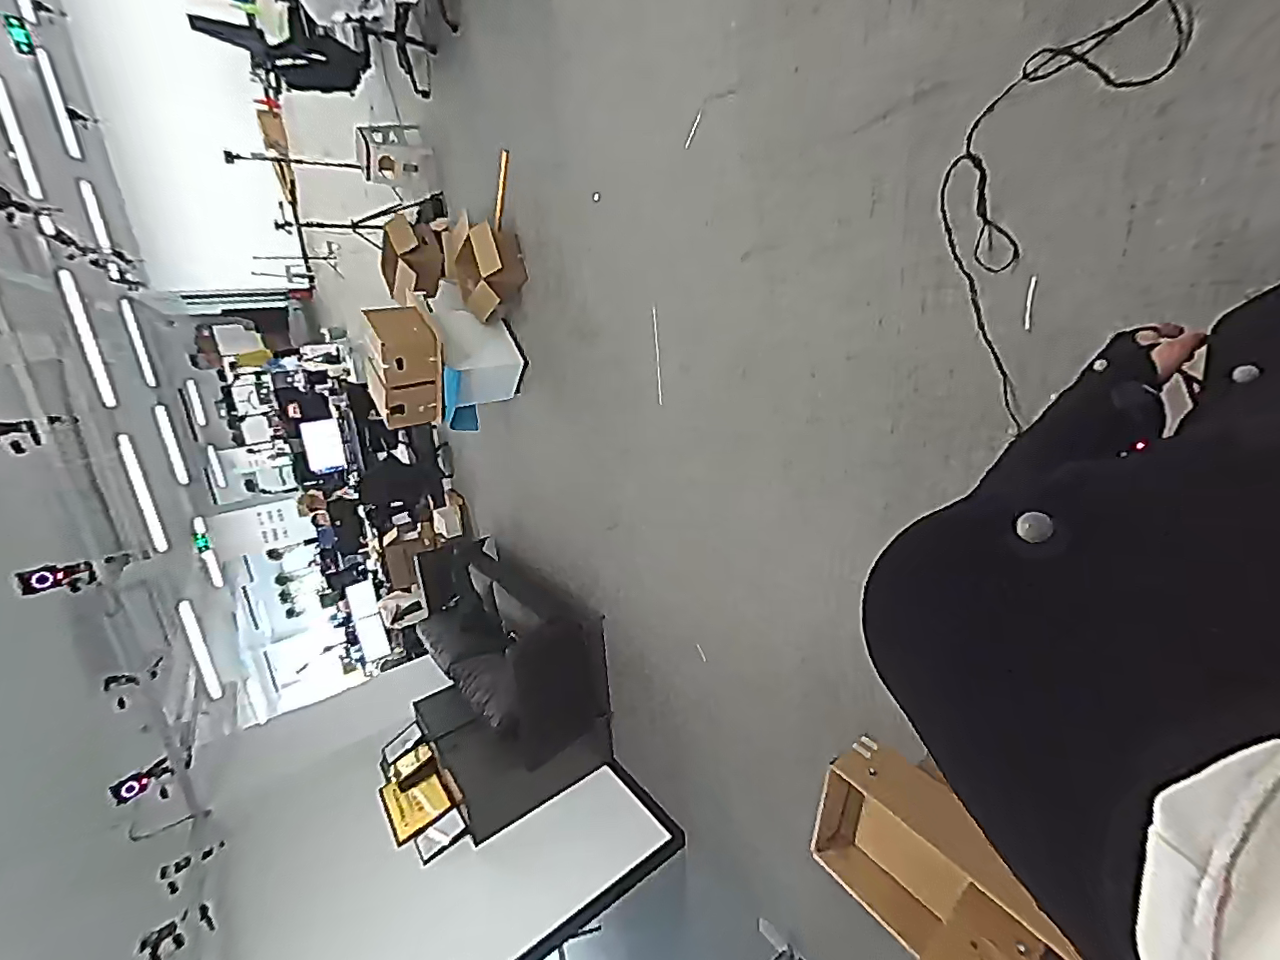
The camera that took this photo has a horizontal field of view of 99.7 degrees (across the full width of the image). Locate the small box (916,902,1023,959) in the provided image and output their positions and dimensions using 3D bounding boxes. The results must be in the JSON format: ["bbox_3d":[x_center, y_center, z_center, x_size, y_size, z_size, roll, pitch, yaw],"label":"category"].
[{"bbox_3d":[0.740,1.129,1.228,0.168,0.176,0.179,28,127,45],"label":"small box"}]
